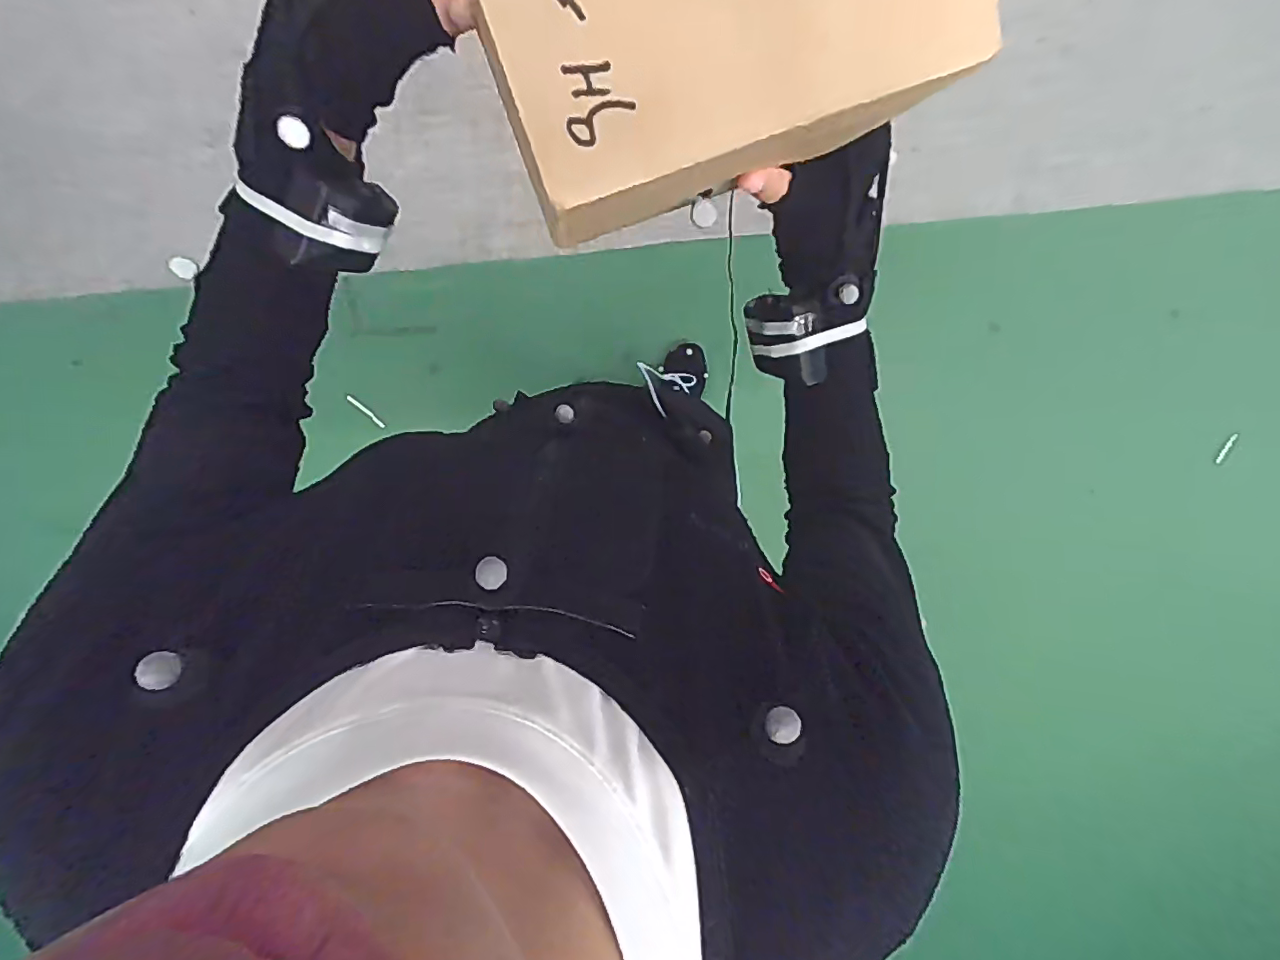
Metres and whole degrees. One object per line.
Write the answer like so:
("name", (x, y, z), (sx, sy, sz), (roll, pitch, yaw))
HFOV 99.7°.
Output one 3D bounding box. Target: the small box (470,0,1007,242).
("small box", (0.018, -0.221, 0.241), (0.179, 0.176, 0.168), (-20, 110, -2))
